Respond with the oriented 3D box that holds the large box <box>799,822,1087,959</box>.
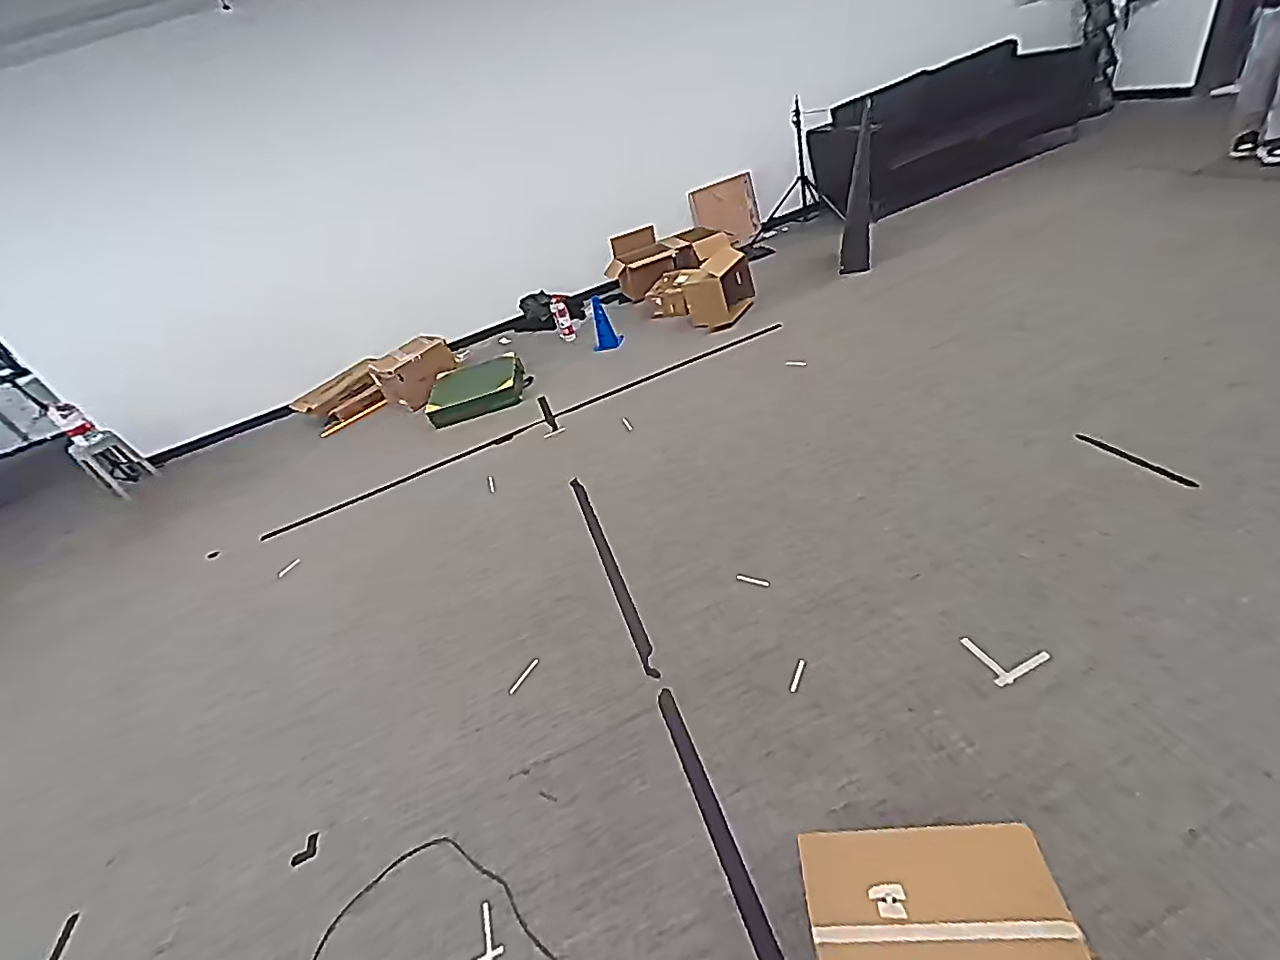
[{"bbox_3d":[0.534,0.862,0.974,0.408,0.320,0.320,-12,35,11],"label":"large box"}]
